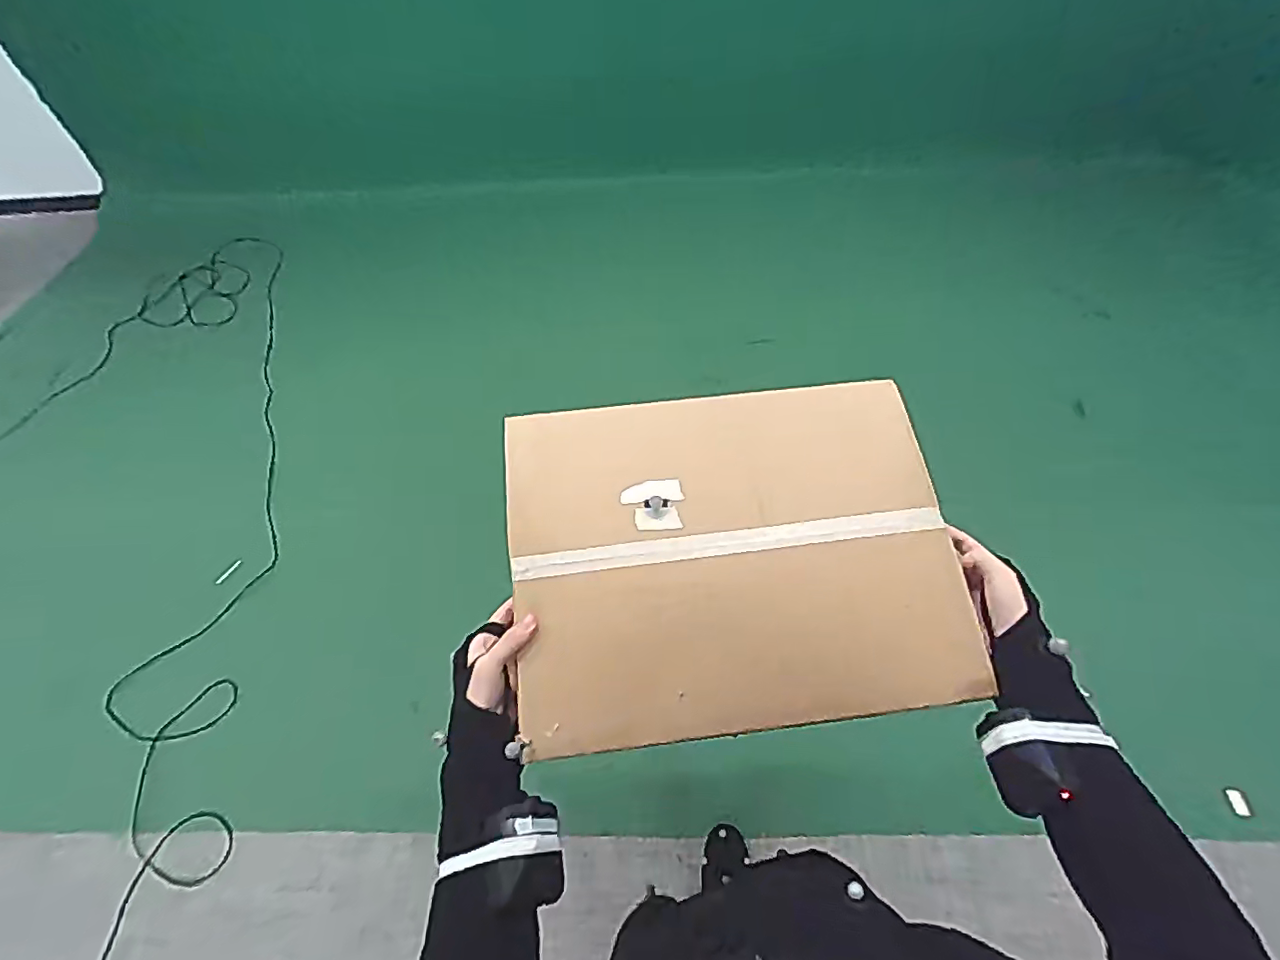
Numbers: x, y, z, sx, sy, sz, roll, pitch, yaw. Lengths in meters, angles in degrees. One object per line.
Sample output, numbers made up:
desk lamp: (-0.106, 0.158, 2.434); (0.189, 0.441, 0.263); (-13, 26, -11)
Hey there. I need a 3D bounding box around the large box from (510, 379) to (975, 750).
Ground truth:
large box: (0.084, 0.110, 0.658); (0.408, 0.320, 0.320); (-7, 69, -2)
